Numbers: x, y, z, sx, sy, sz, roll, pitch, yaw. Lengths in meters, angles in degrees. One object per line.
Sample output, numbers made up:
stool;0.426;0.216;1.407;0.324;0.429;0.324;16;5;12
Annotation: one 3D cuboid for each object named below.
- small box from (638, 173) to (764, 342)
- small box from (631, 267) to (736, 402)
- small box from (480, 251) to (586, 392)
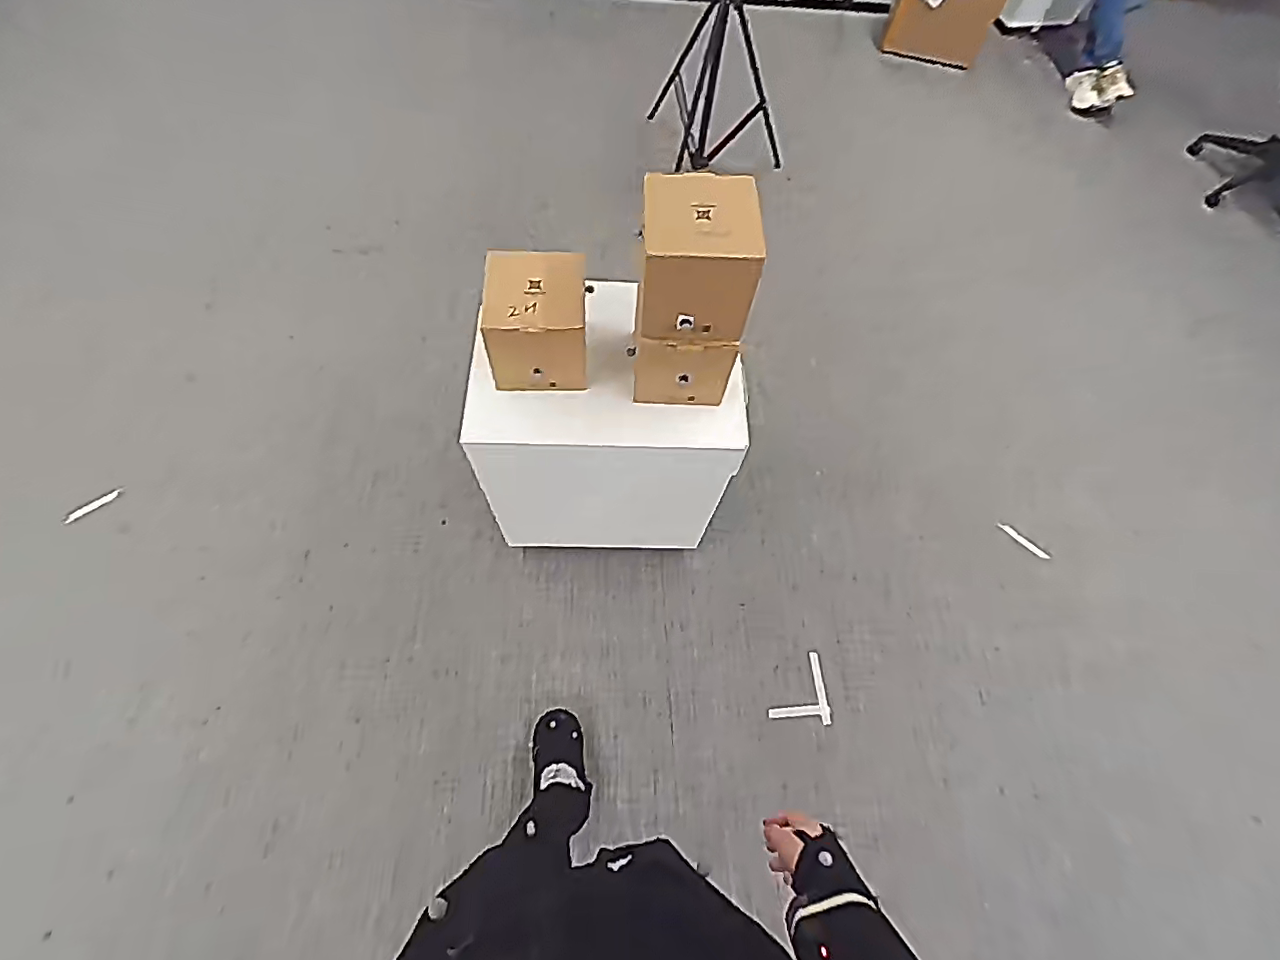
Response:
small box;0.082;-0.337;0.832;0.168;0.176;0.179;0;64;-2
small box;0.071;-0.255;0.972;0.168;0.176;0.179;1;65;-4
small box;-0.182;-0.278;0.964;0.168;0.176;0.179;-1;64;-5
